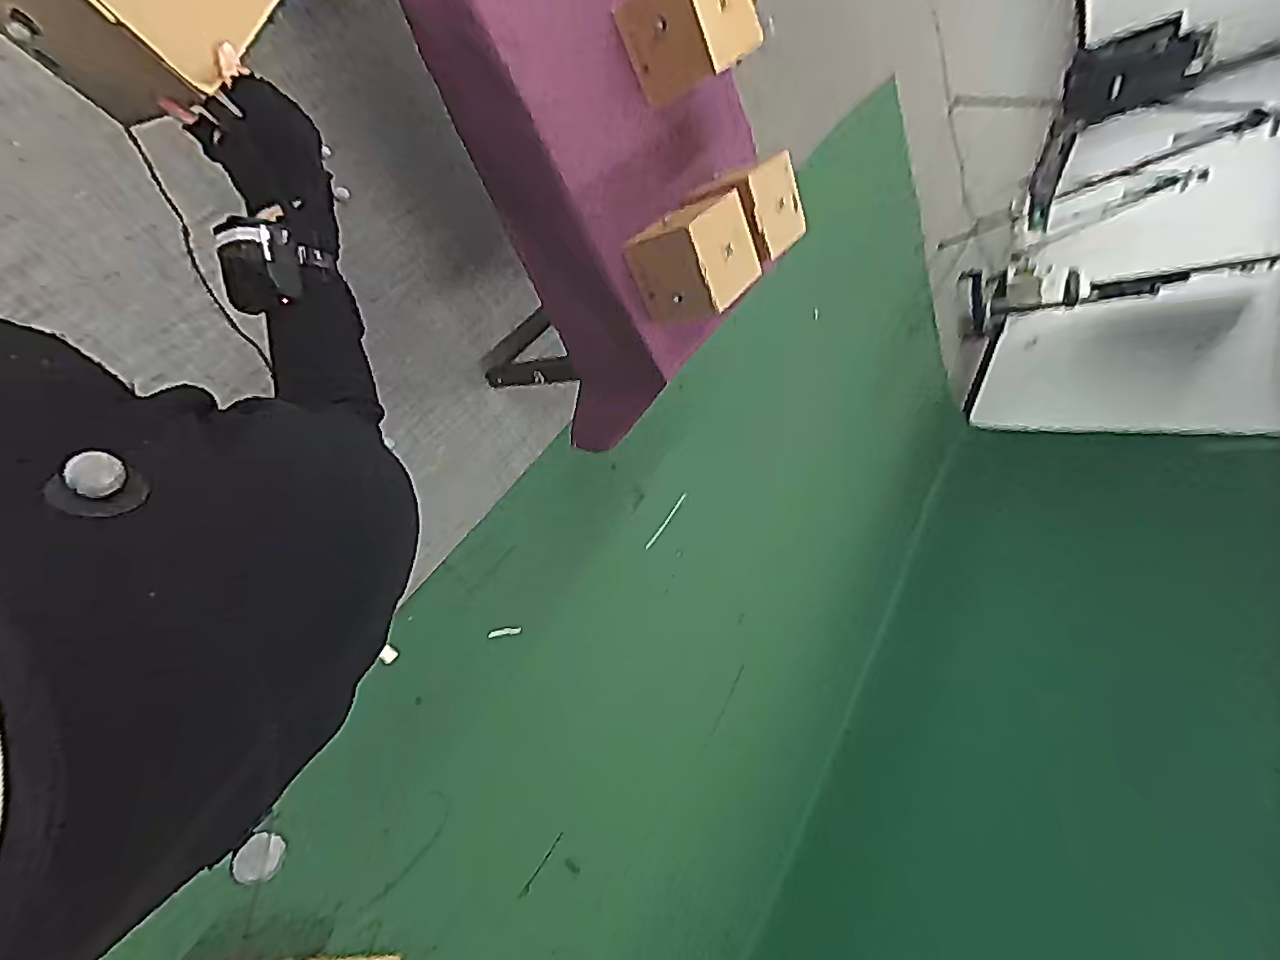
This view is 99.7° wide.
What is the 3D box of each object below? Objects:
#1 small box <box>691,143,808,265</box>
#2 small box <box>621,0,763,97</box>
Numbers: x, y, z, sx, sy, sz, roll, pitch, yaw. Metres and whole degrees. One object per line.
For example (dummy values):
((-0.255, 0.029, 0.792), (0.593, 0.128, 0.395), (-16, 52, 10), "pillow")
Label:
((0.227, -0.579, 1.150), (0.179, 0.176, 0.168), (-45, 125, -31), "small box")
((0.089, -0.839, 0.979), (0.179, 0.176, 0.168), (-53, 128, -28), "small box")
